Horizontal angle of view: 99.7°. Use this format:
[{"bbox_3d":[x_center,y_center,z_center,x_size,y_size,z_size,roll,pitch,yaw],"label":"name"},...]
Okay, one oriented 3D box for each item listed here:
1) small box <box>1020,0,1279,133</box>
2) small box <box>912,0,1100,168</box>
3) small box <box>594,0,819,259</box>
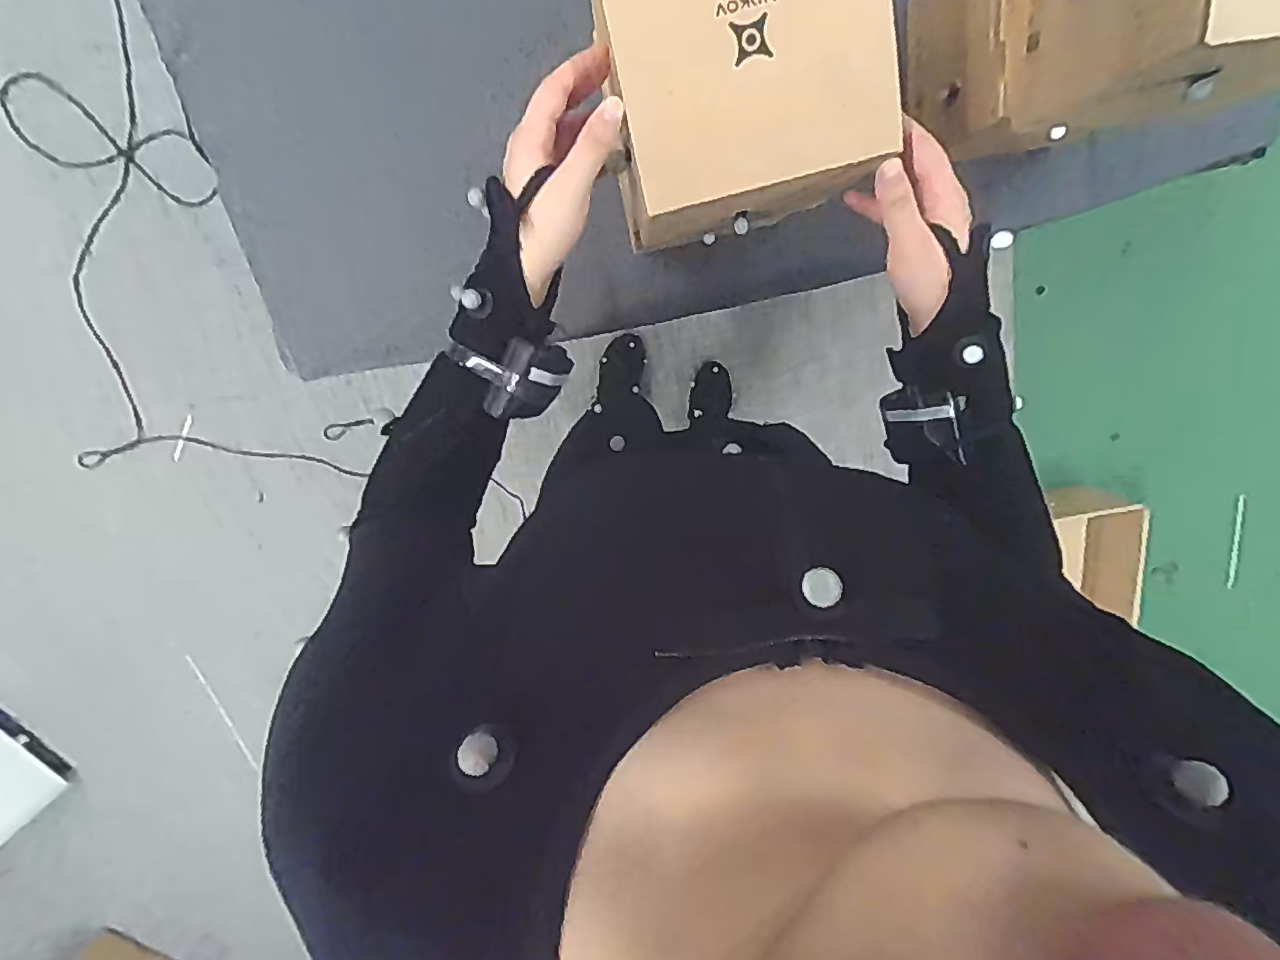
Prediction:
[{"bbox_3d":[0.404,-0.363,0.372,0.179,0.176,0.168,-6,107,1],"label":"small box"},{"bbox_3d":[0.386,-0.424,0.525,0.179,0.176,0.168,-9,107,1],"label":"small box"},{"bbox_3d":[0.060,-0.333,0.544,0.179,0.176,0.168,-12,105,4],"label":"small box"}]
